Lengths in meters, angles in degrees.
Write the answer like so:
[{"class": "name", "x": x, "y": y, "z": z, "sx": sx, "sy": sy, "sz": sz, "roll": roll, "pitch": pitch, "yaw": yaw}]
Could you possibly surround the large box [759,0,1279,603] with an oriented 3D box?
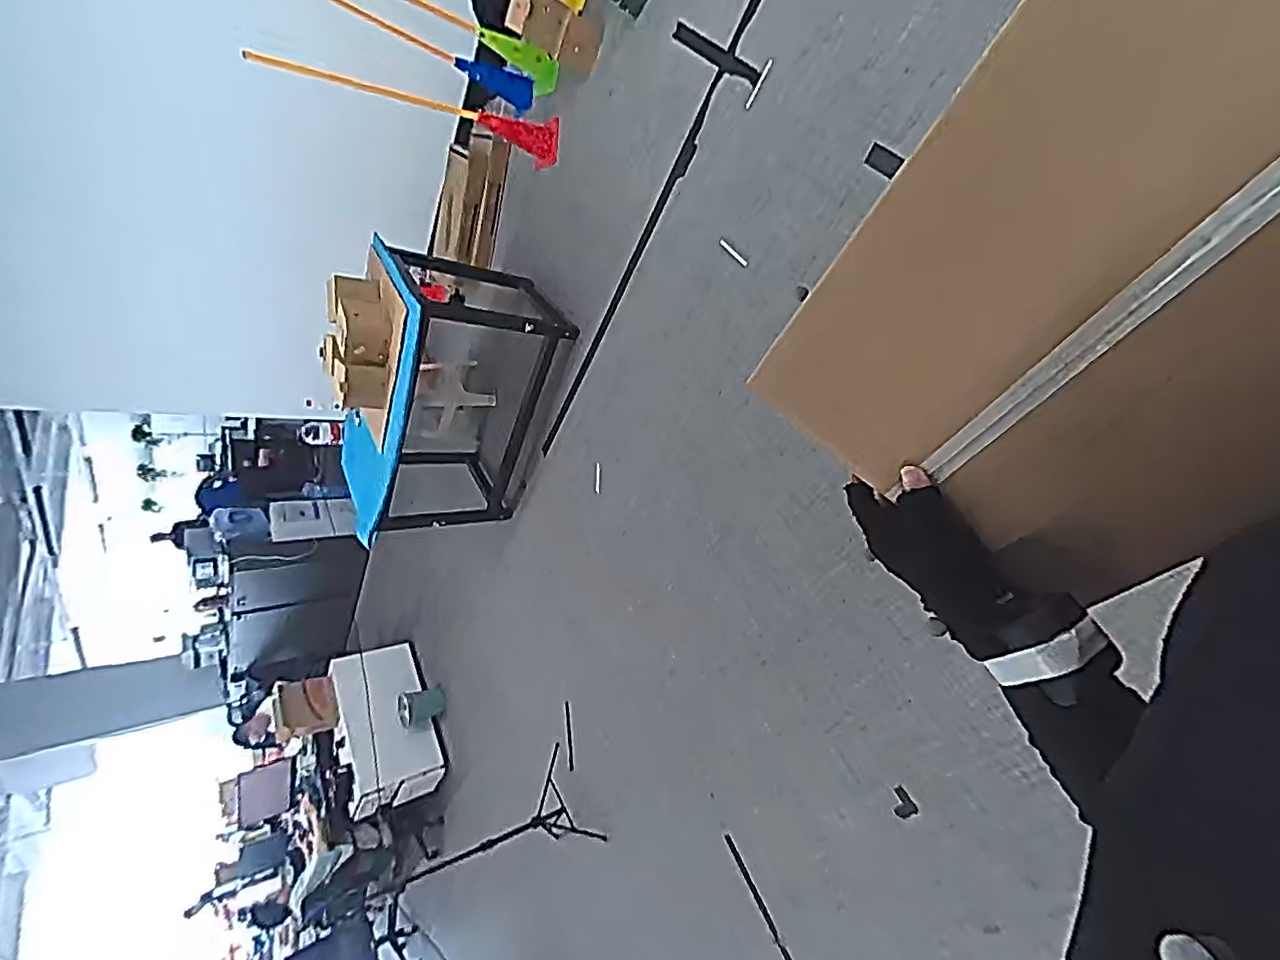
[{"class": "large box", "x": 0.367, "y": -0.184, "z": 0.433, "sx": 0.320, "sy": 0.320, "sz": 0.408, "roll": 38, "pitch": 134, "yaw": 6}]
